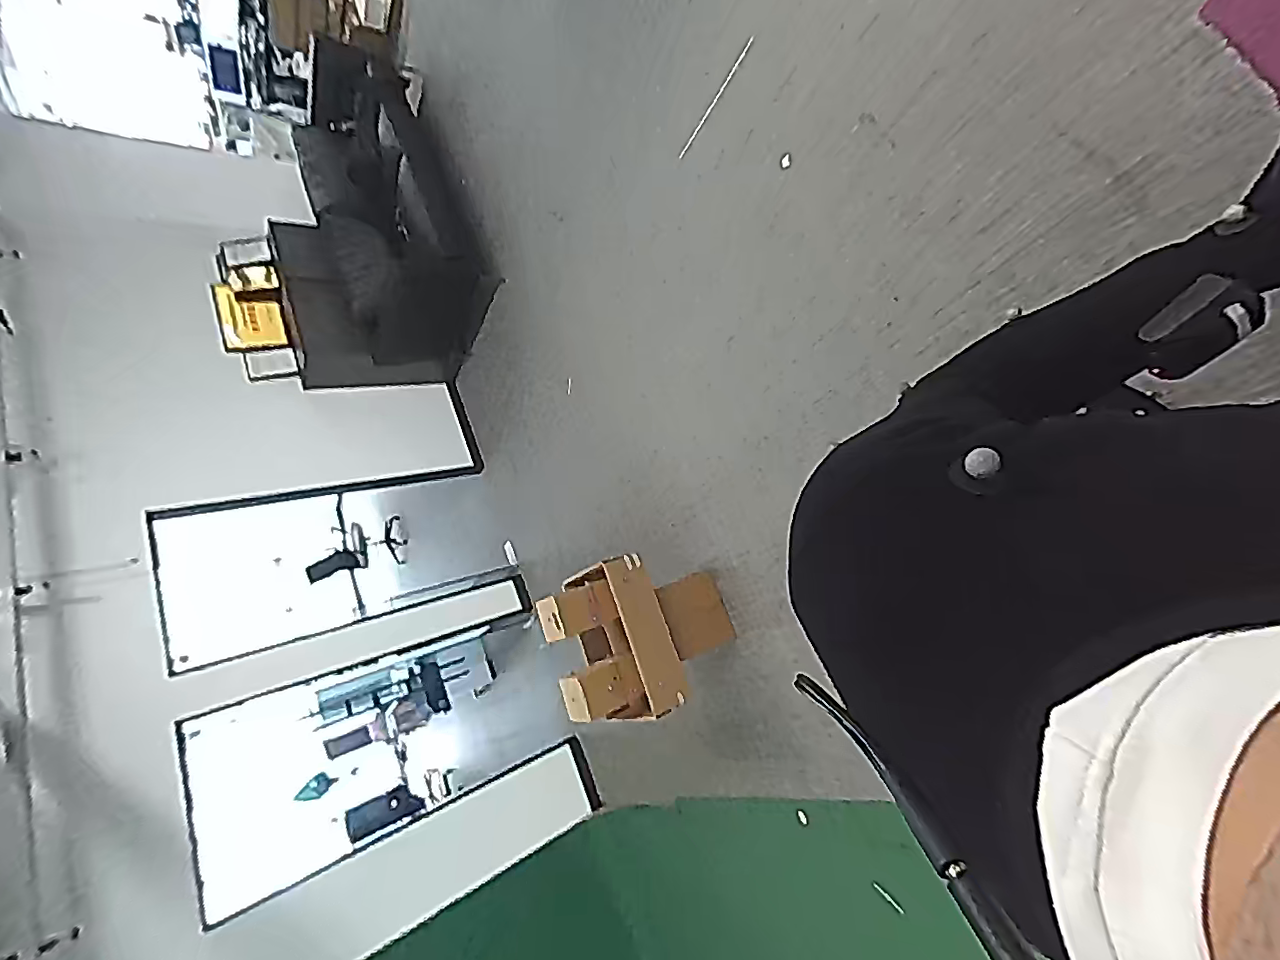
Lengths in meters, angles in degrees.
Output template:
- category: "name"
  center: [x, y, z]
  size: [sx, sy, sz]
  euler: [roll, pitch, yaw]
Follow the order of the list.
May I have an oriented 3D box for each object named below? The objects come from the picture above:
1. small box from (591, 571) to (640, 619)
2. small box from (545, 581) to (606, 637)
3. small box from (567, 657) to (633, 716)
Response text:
- category: "small box"
  center: [-0.126, 0.491, 2.261]
  size: [0.179, 0.176, 0.168]
  euler: [-34, 71, 50]
- category: "small box"
  center: [-0.252, 0.513, 2.156]
  size: [0.179, 0.176, 0.168]
  euler: [-32, 72, 51]
- category: "small box"
  center: [-0.153, 0.796, 2.093]
  size: [0.179, 0.176, 0.168]
  euler: [-31, 74, 51]
